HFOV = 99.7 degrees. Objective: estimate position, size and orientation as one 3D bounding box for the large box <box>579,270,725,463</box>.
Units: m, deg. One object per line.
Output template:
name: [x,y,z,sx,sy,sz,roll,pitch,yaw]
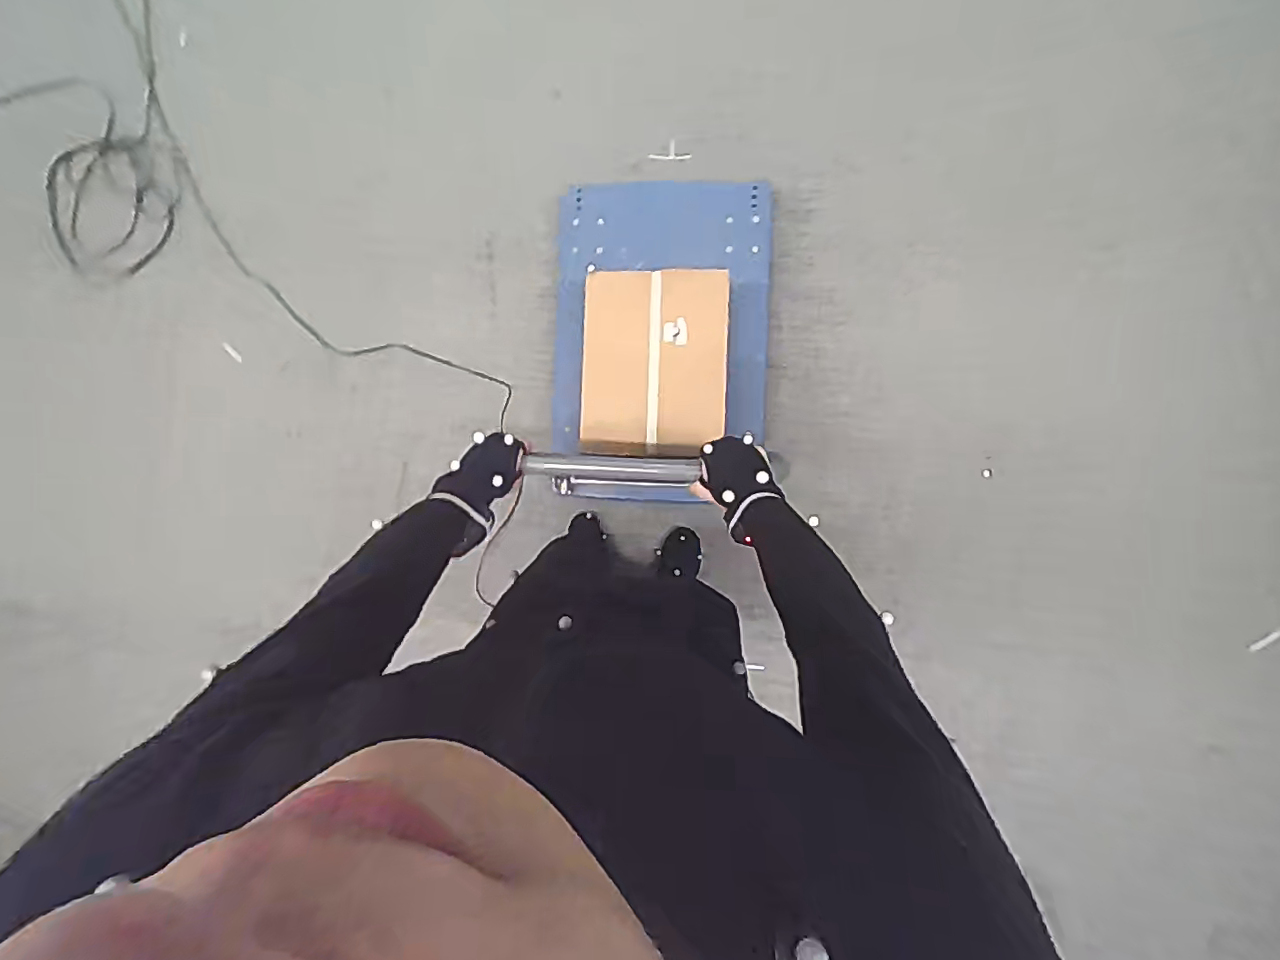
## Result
large box: [0.043,-0.252,1.325,0.320,0.320,0.408,2,88,6]
